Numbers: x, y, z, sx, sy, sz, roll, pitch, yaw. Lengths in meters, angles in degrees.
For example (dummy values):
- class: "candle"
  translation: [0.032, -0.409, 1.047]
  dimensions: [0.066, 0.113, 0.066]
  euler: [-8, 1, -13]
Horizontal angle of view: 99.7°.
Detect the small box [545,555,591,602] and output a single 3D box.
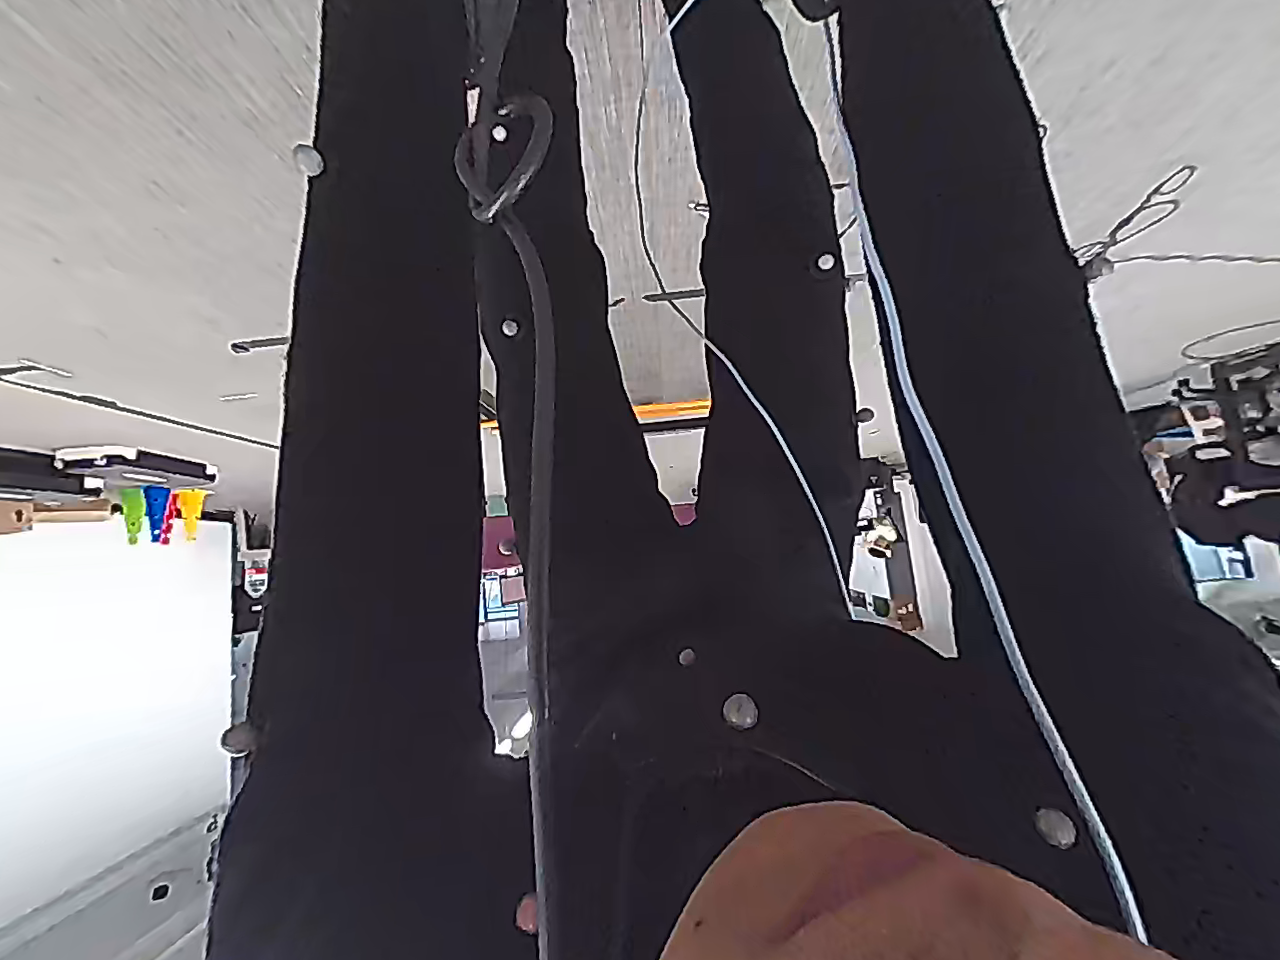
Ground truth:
- class: "small box"
  translation: [-0.305, 0.414, 2.289]
  dimensions: [0.168, 0.176, 0.179]
  euler: [-6, 173, -1]
